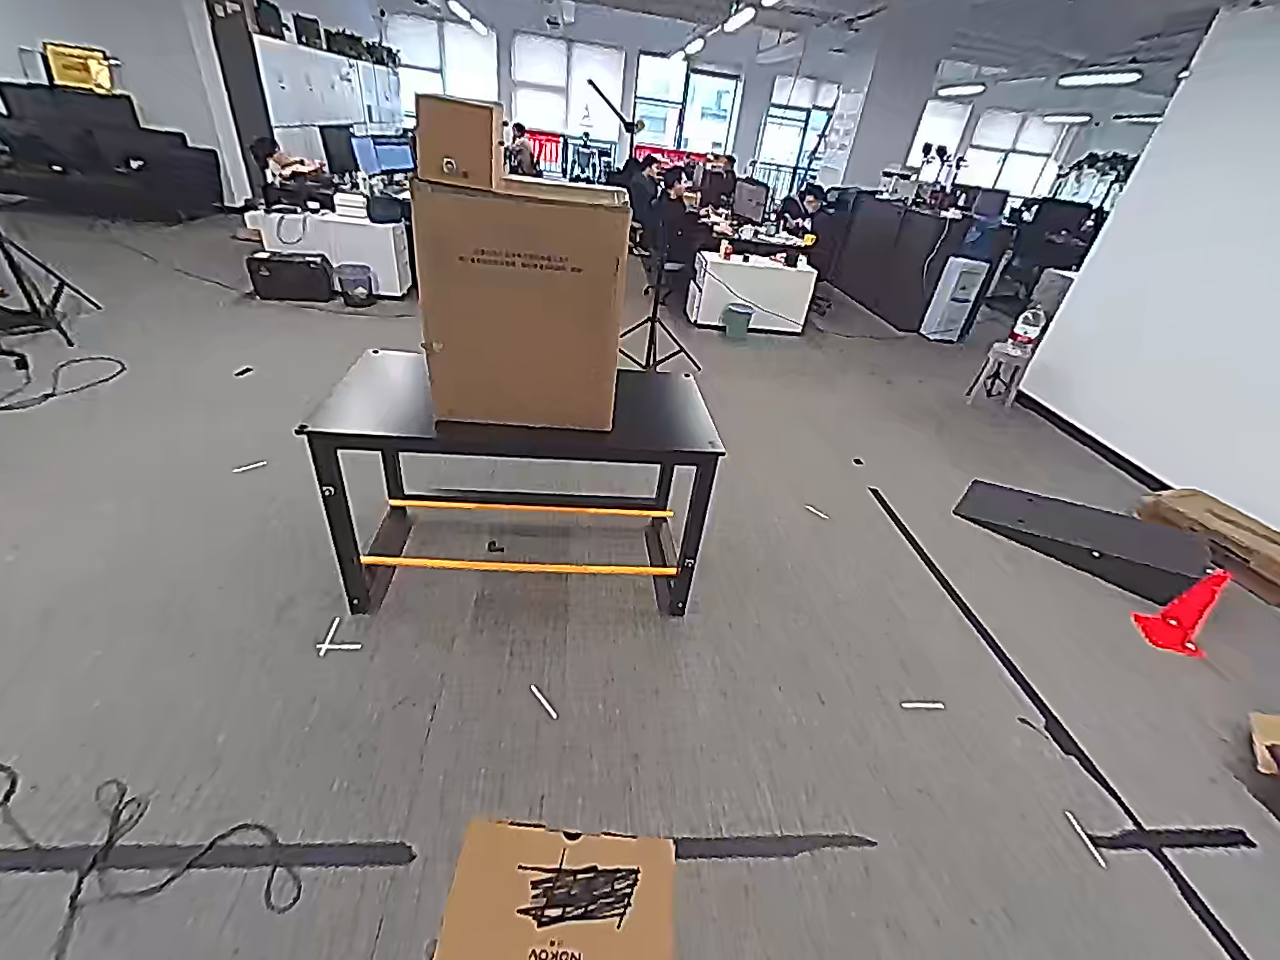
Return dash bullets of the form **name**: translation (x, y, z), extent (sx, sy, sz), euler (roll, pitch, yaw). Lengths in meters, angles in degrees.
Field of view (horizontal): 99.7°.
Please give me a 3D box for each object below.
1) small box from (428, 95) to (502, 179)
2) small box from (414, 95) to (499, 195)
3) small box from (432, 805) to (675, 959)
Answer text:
- **small box**: translation (-0.459, -0.903, 1.438), extent (0.168, 0.176, 0.179), euler (2, 32, -9)
- **small box**: translation (-0.422, -0.782, 1.265), extent (0.168, 0.176, 0.179), euler (2, 36, -11)
- **small box**: translation (-0.068, 0.385, 0.419), extent (0.168, 0.176, 0.179), euler (7, 41, -2)
